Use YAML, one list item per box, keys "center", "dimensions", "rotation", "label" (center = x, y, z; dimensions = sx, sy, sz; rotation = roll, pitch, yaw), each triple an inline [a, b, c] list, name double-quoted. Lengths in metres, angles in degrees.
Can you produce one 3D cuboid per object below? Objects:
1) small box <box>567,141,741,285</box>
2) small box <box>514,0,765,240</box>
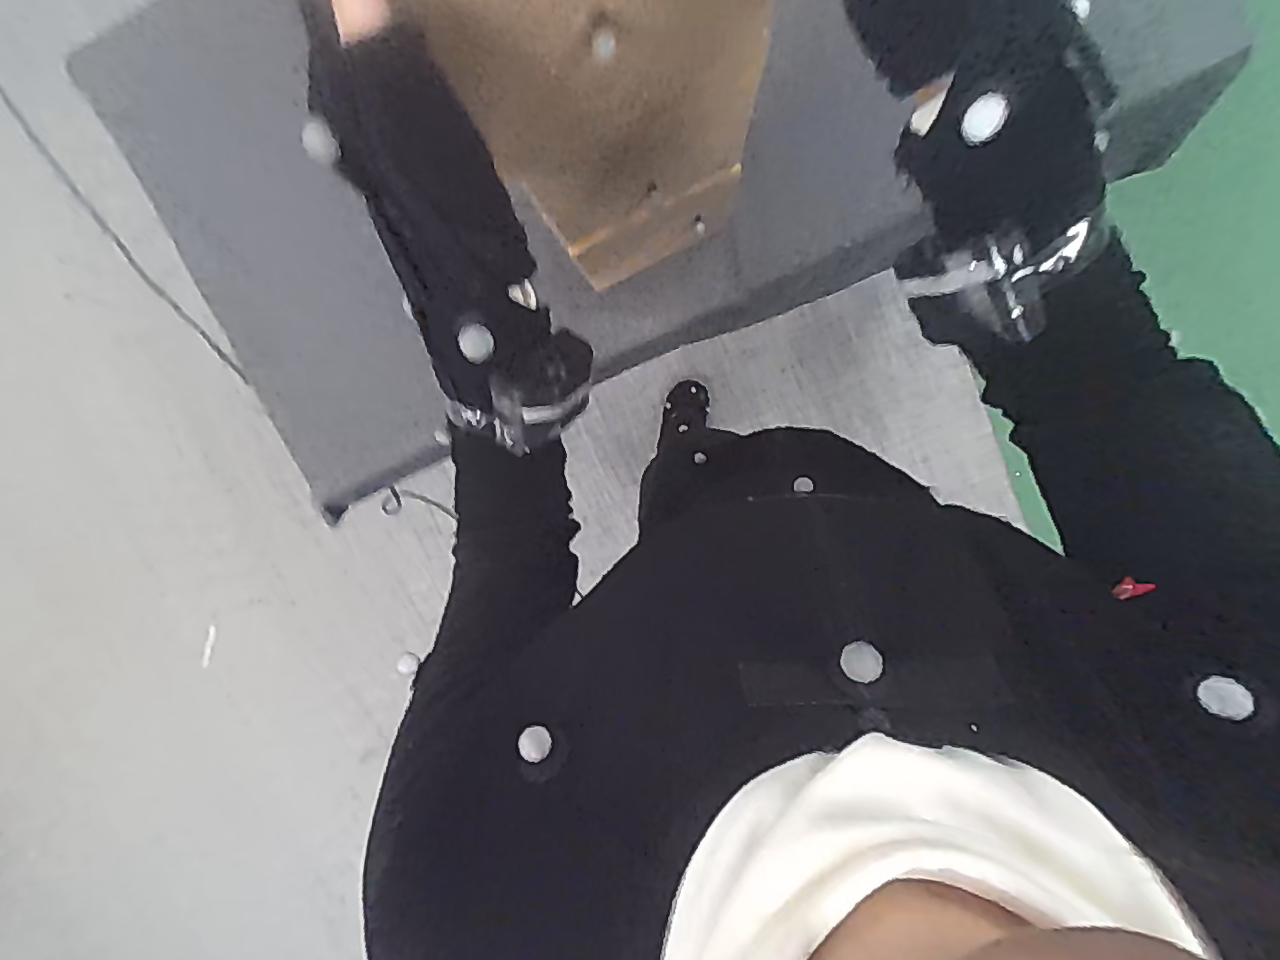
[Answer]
- center: [-0.012, -0.332, 0.571]
  dimensions: [0.179, 0.176, 0.168]
  rotation: [-25, 95, 9]
  label: "small box"
- center: [-0.029, -0.315, 0.409]
  dimensions: [0.179, 0.176, 0.168]
  rotation: [-24, 95, 7]
  label: "small box"
